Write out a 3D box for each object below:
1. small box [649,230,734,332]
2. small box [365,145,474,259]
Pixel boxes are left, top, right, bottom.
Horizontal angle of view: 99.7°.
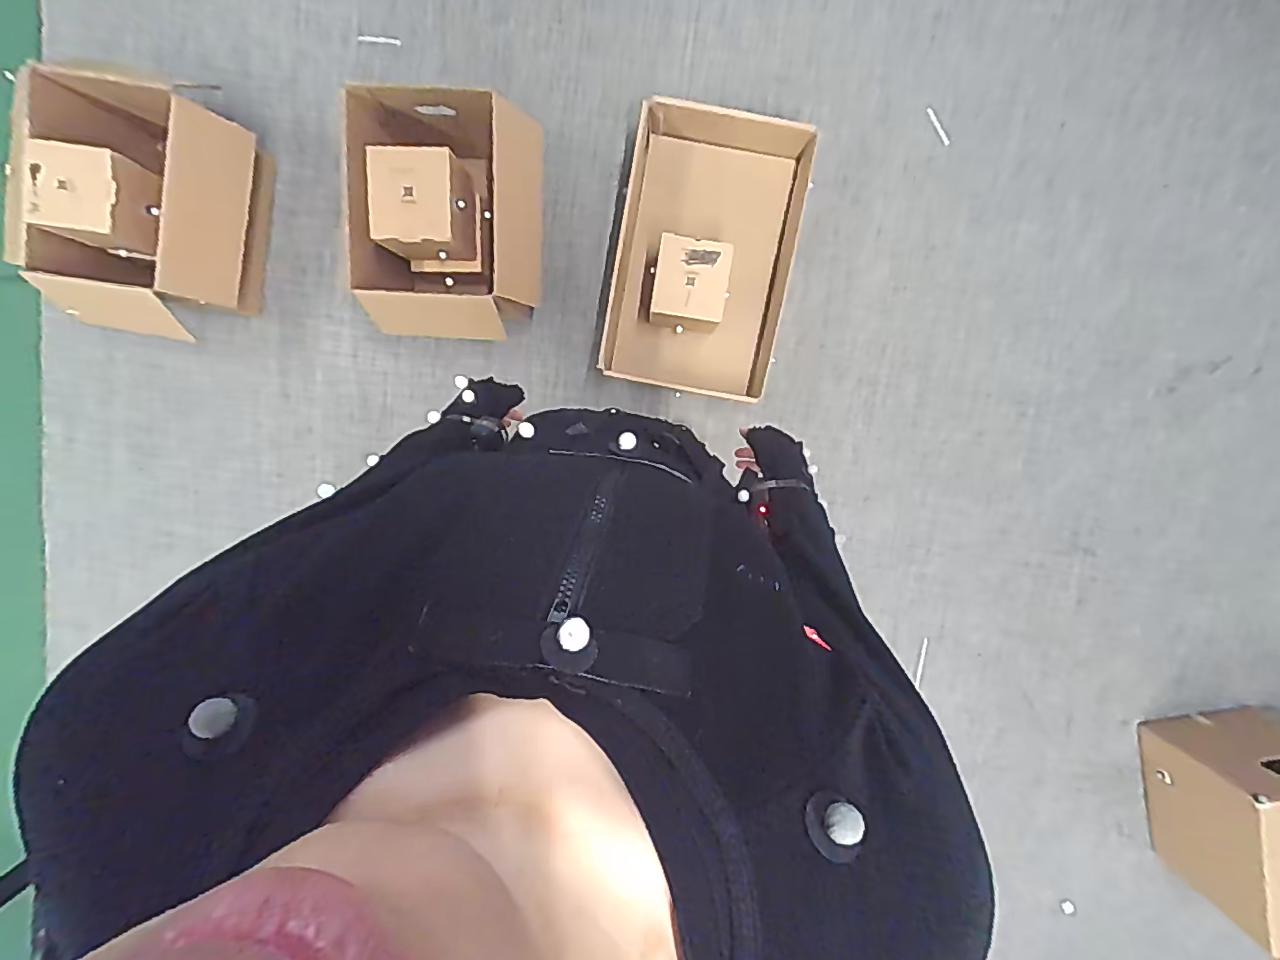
[{"bbox_3d":[0.114,-0.460,1.277,0.168,0.176,0.179,9,97,0],"label":"small box"},{"bbox_3d":[-0.456,-0.577,1.142,0.168,0.176,0.179,2,99,1],"label":"small box"}]
